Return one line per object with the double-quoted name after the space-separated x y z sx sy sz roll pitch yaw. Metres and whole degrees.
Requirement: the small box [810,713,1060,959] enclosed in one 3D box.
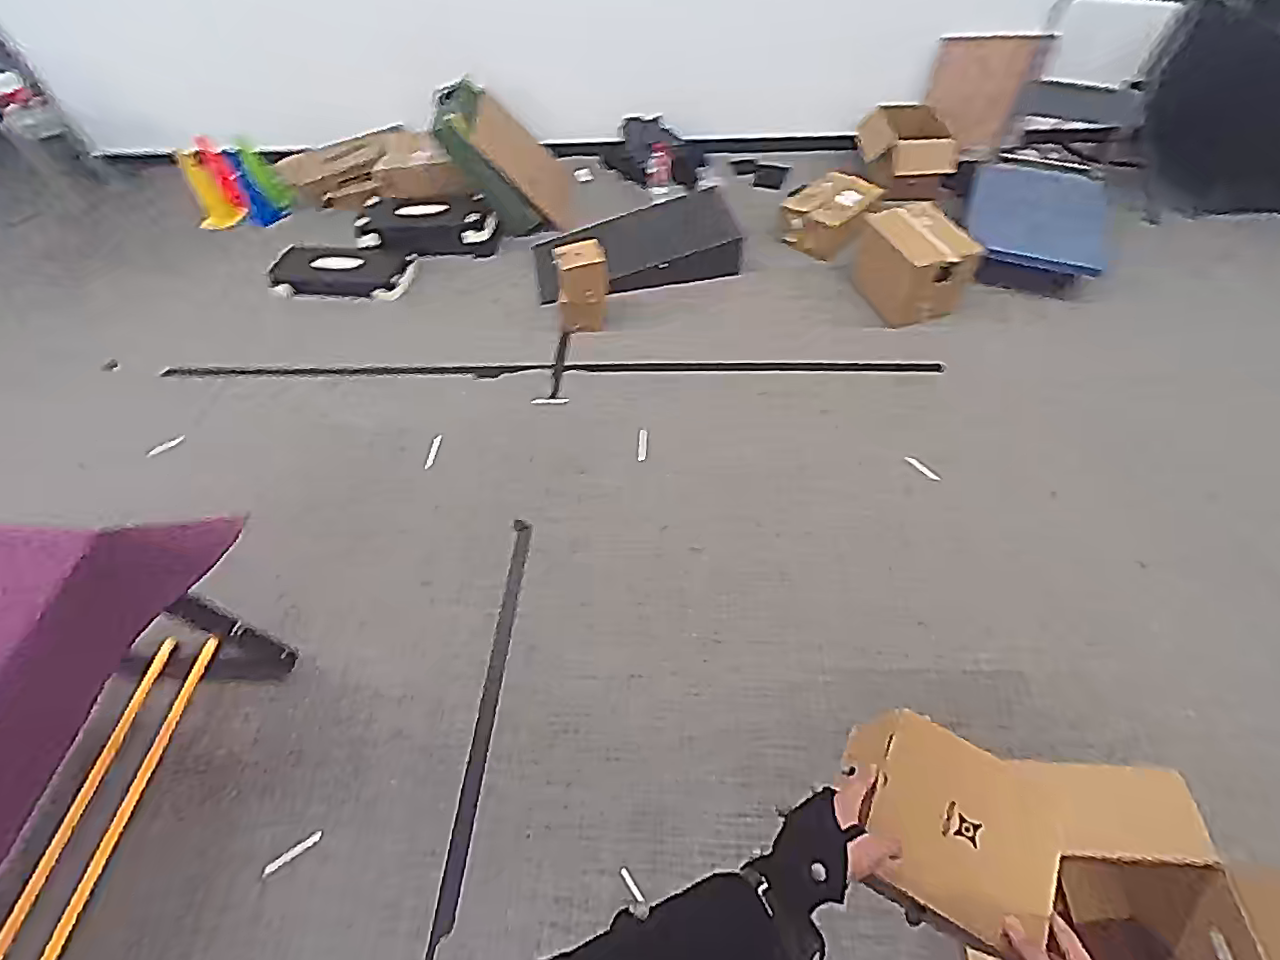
0.315 0.390 0.605 0.179 0.176 0.168 24 62 17 "small box"
